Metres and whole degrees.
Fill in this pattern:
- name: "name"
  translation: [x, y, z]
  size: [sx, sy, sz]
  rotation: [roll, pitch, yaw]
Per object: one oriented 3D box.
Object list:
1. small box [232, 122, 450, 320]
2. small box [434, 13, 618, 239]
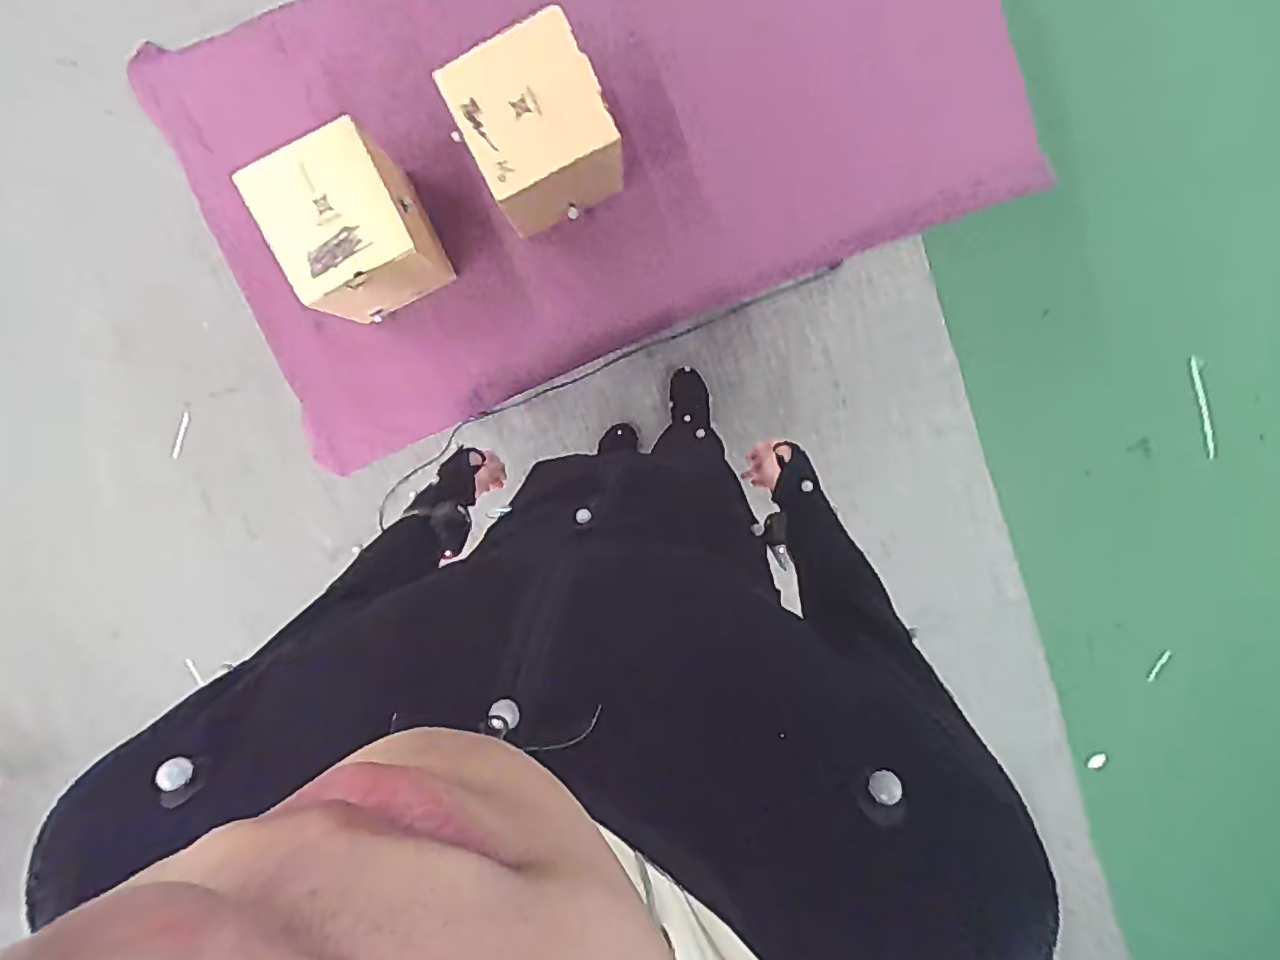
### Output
- name: "small box"
  translation: [-0.395, -0.338, 0.752]
  size: [0.168, 0.176, 0.179]
  rotation: [-26, 97, 2]
- name: "small box"
  translation: [-0.142, -0.463, 0.738]
  size: [0.179, 0.176, 0.168]
  rotation: [-26, 97, 2]
